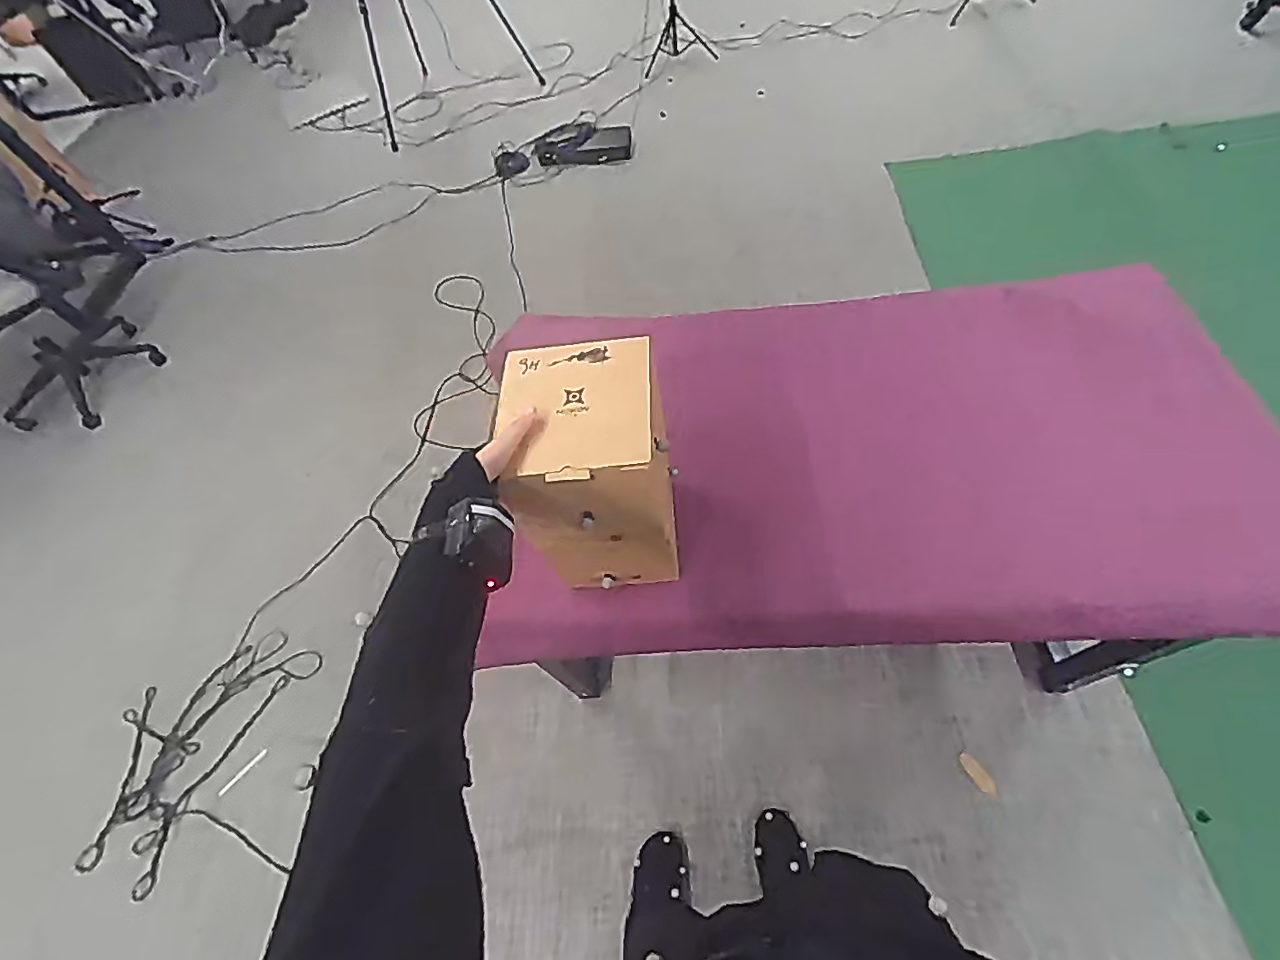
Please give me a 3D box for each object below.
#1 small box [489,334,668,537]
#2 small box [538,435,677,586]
[{"bbox_3d":[-0.058,-0.041,0.632,0.168,0.176,0.179,-4,59,7],"label":"small box"},{"bbox_3d":[-0.038,0.036,0.775,0.168,0.176,0.179,-6,58,6],"label":"small box"}]
